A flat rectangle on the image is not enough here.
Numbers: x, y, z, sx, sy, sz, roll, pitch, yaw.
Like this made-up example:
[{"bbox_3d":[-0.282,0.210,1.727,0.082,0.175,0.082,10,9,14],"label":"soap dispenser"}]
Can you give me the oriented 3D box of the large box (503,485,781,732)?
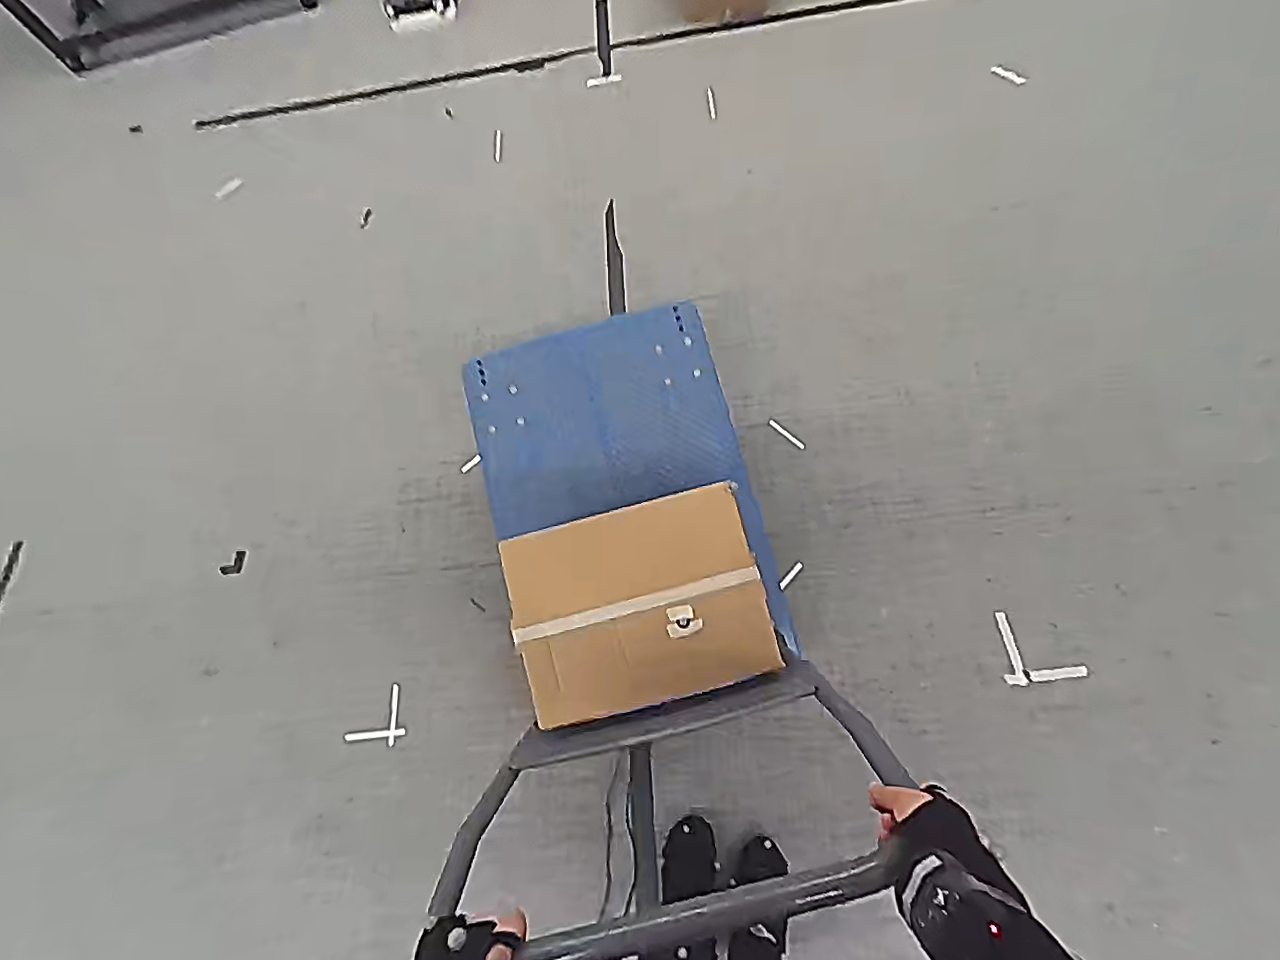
[{"bbox_3d":[0.003,0.229,1.035,0.408,0.320,0.320,-16,83,0],"label":"large box"}]
